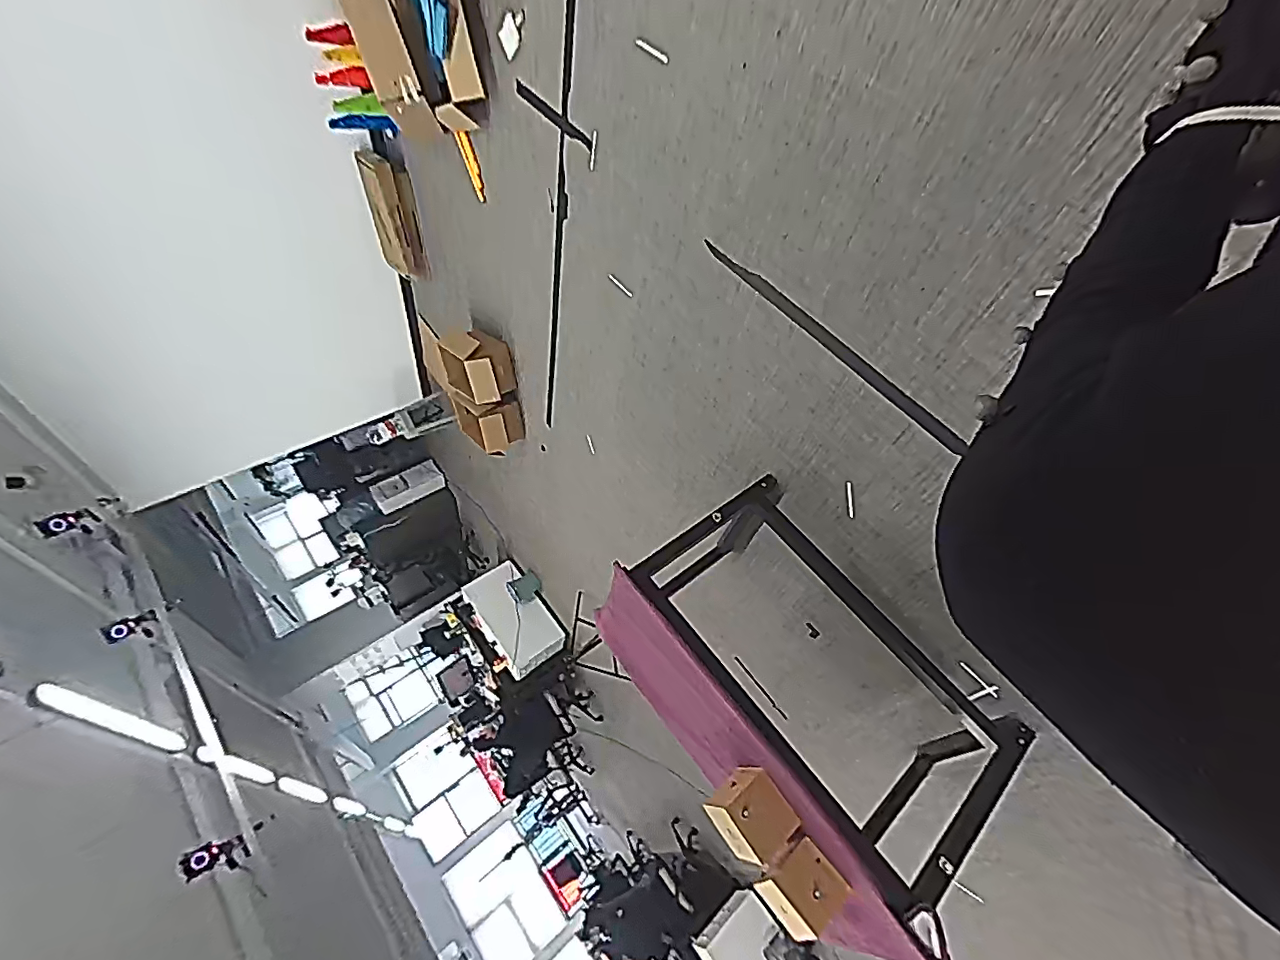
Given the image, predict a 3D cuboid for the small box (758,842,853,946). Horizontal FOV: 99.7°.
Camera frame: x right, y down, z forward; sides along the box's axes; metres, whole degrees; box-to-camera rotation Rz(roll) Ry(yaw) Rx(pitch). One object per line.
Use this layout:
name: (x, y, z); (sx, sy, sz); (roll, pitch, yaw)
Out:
small box: (0.466, 1.155, 1.516); (0.168, 0.176, 0.179); (44, 147, 28)

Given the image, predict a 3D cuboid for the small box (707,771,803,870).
small box: (0.332, 0.972, 1.565); (0.179, 0.176, 0.168); (53, 151, 13)
